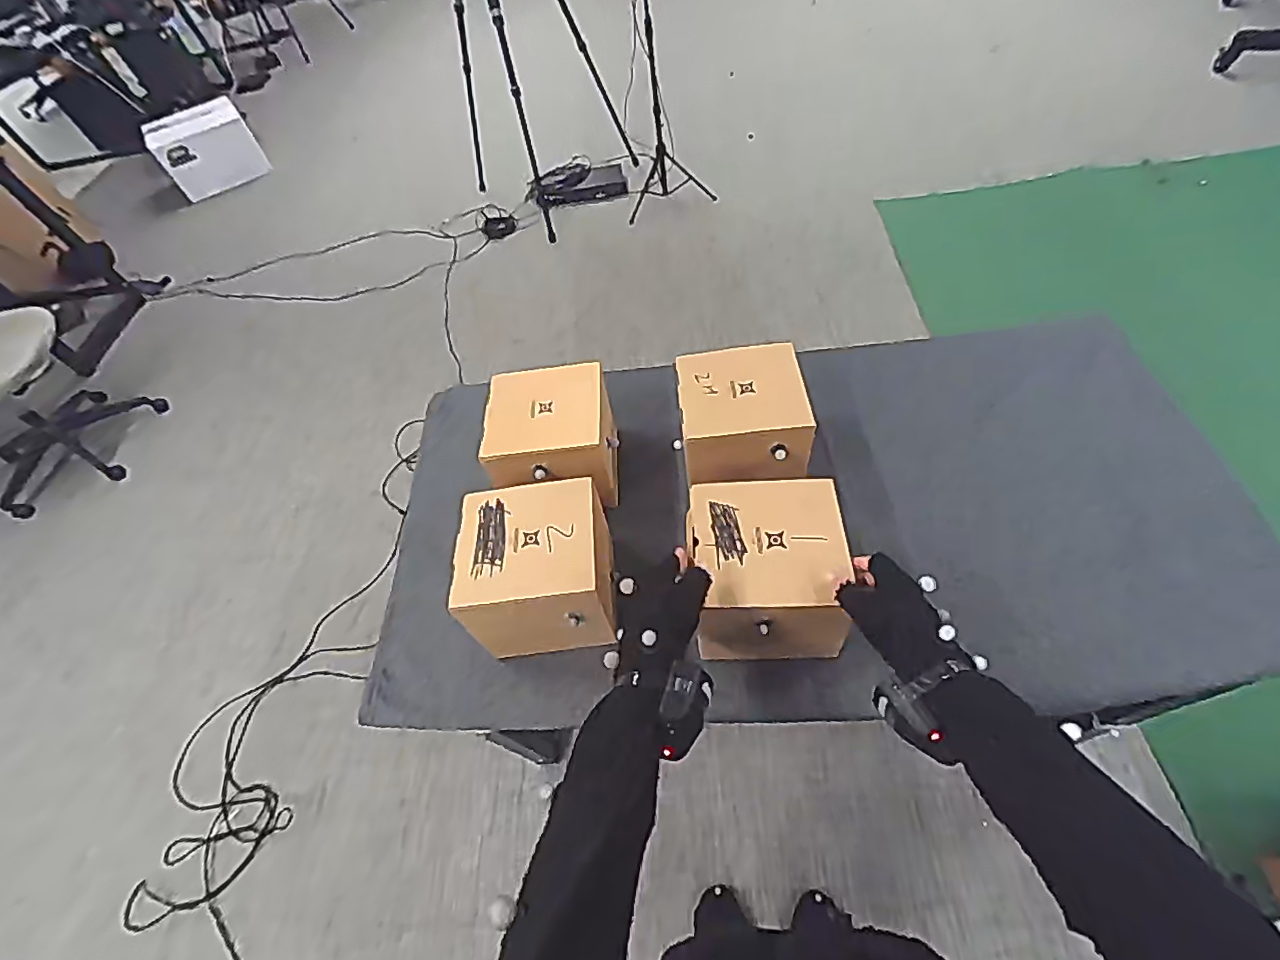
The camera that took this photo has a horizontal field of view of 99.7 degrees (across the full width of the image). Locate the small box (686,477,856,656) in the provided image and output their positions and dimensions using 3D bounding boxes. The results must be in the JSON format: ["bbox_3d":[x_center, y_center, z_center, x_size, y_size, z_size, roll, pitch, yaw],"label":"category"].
[{"bbox_3d":[0.153,0.115,0.679,0.179,0.176,0.168,-4,54,7],"label":"small box"}]

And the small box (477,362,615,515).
[{"bbox_3d":[-0.135,-0.060,0.856,0.179,0.176,0.168,-7,55,5],"label":"small box"}]
